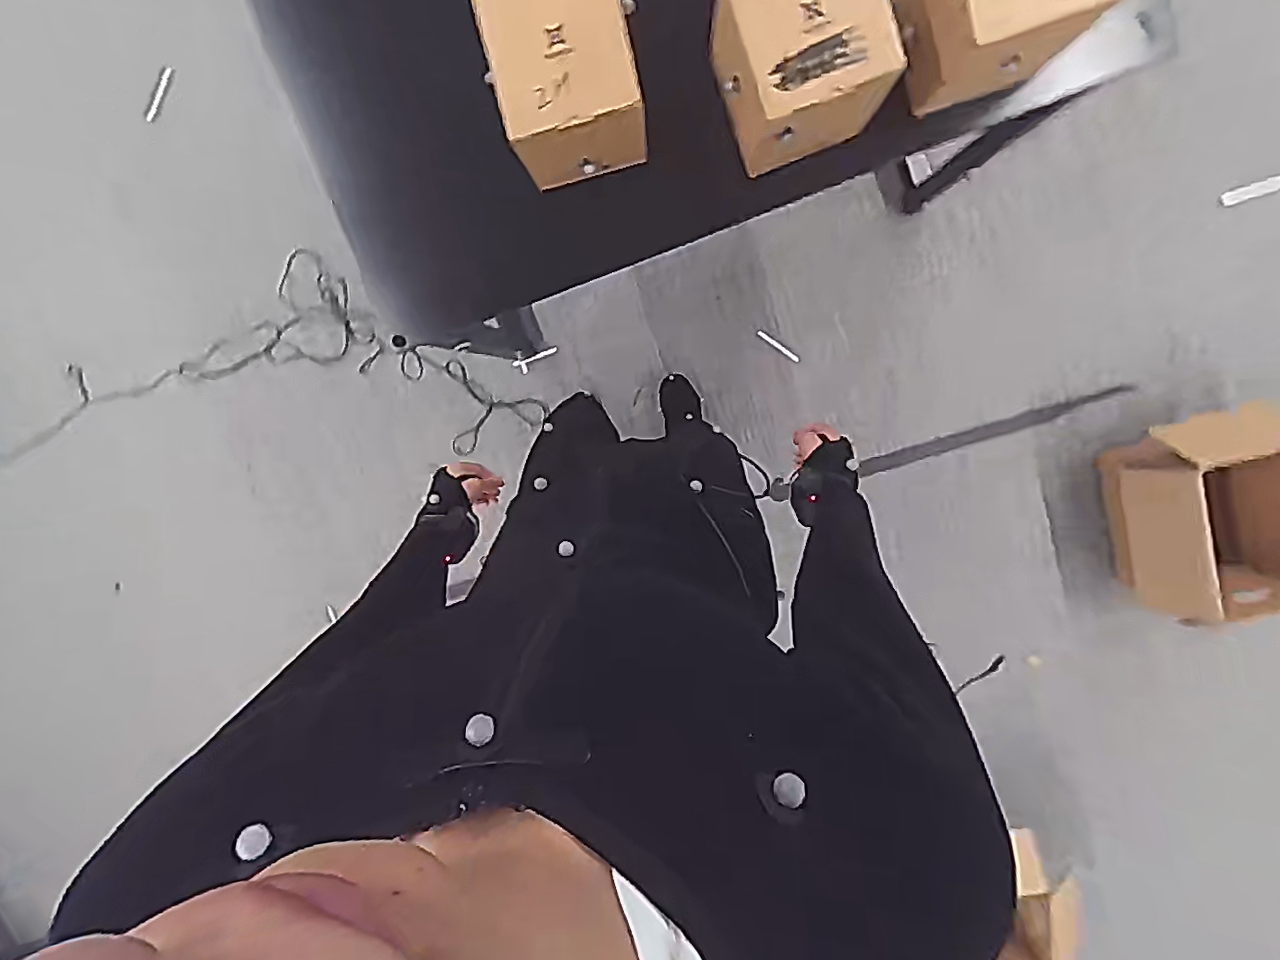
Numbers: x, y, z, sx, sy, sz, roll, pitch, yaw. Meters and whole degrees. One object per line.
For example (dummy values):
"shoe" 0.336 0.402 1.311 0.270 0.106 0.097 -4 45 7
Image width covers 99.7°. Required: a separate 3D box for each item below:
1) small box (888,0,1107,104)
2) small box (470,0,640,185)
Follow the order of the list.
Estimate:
"small box" 0.435 -0.611 0.662 0.179 0.176 0.168 -17 98 7
"small box" -0.100 -0.523 0.706 0.168 0.176 0.179 -13 99 5
